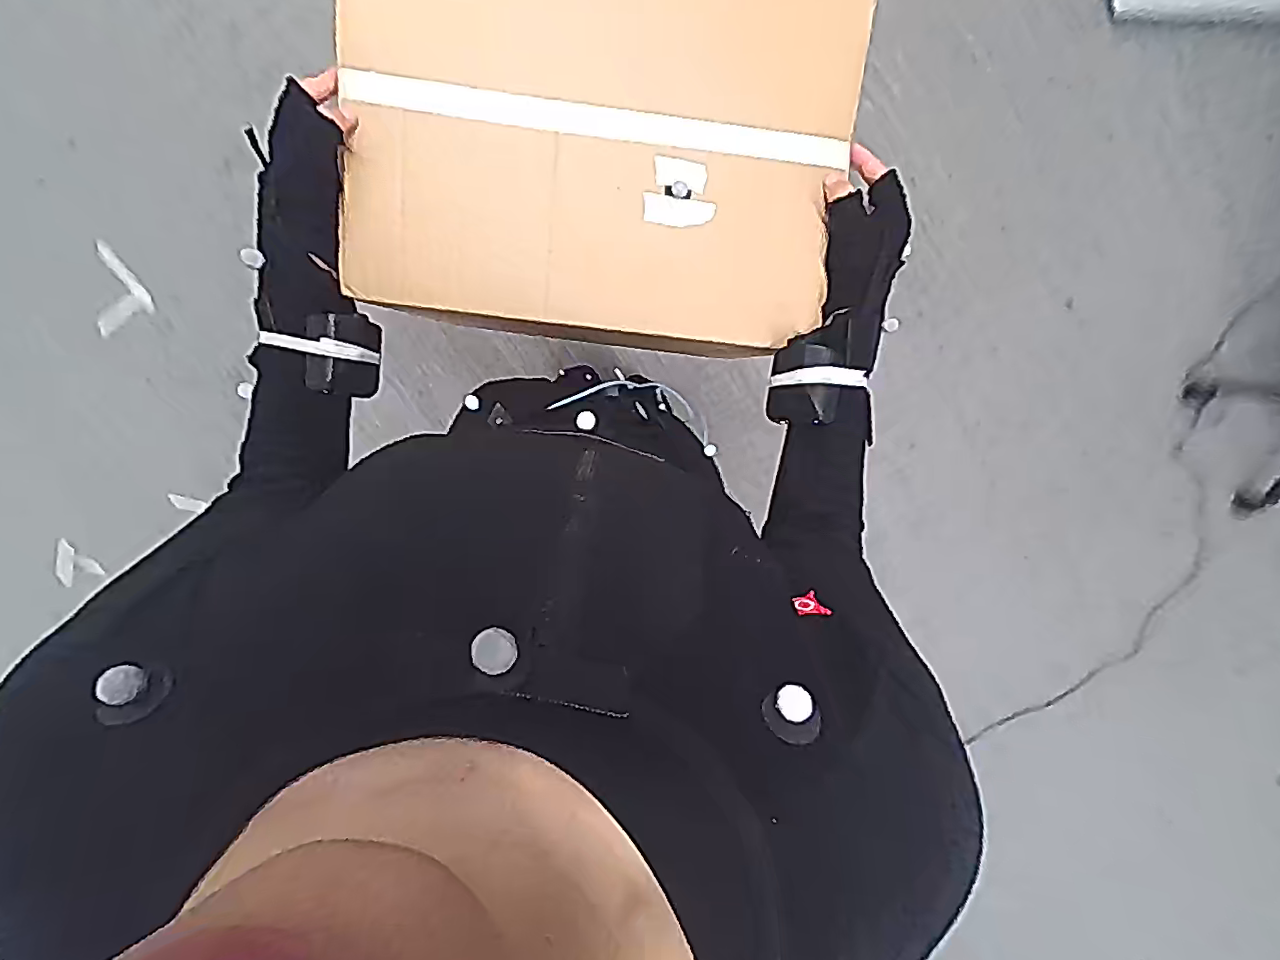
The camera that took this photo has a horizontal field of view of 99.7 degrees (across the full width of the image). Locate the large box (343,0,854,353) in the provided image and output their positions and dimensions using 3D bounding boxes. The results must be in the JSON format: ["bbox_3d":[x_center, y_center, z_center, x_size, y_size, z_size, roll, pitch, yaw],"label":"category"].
[{"bbox_3d":[-0.046,-0.311,0.586,0.408,0.320,0.320,4,103,-5],"label":"large box"}]
